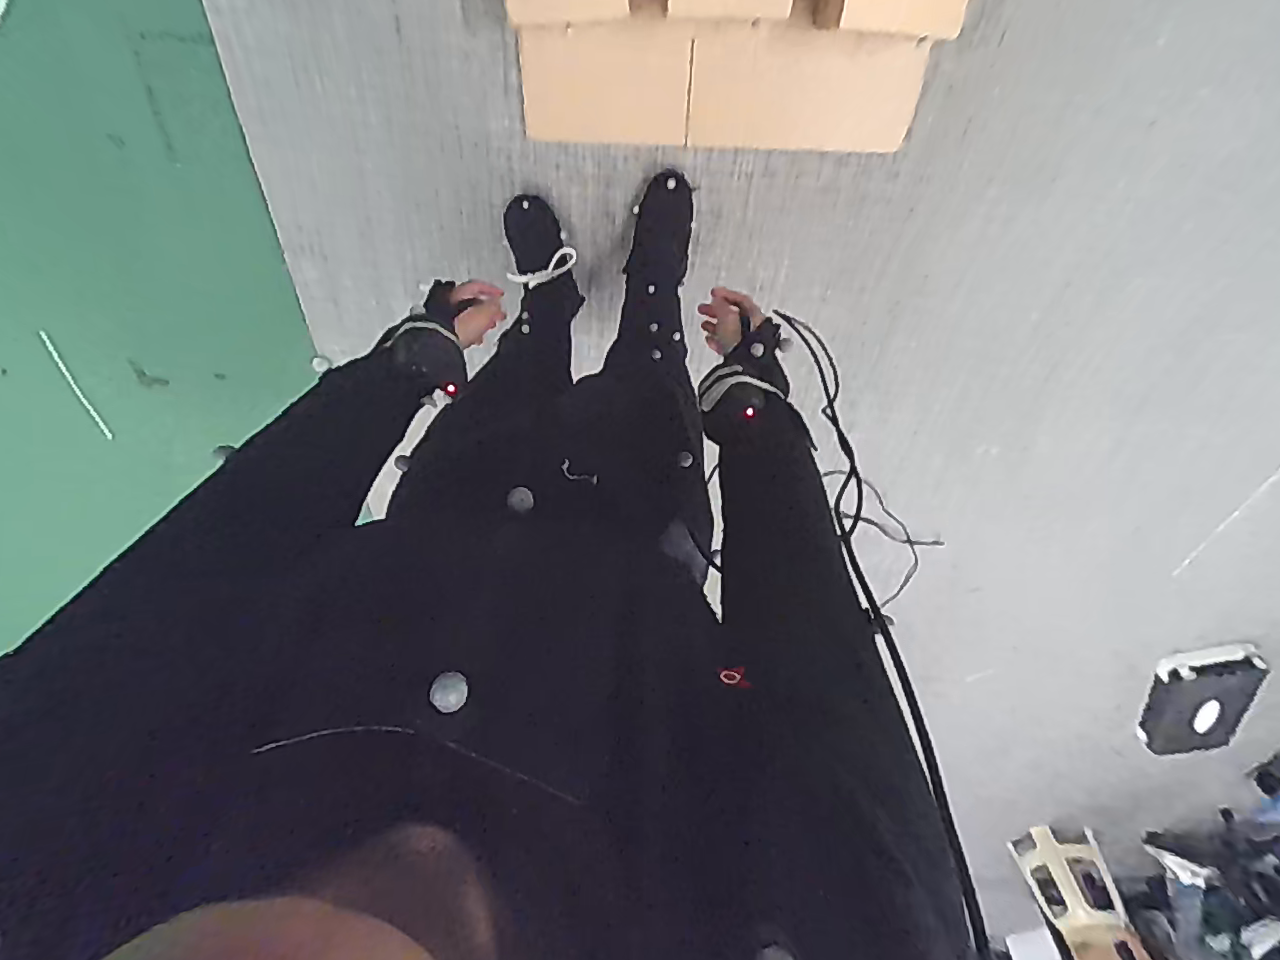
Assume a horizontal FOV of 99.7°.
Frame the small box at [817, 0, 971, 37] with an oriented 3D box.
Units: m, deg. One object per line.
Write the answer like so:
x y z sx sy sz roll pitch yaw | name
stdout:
0.372 -0.747 0.773 0.179 0.176 0.168 3 129 -2 | small box

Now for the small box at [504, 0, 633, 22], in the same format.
-0.104 -0.768 0.772 0.179 0.176 0.168 -2 131 2 | small box
